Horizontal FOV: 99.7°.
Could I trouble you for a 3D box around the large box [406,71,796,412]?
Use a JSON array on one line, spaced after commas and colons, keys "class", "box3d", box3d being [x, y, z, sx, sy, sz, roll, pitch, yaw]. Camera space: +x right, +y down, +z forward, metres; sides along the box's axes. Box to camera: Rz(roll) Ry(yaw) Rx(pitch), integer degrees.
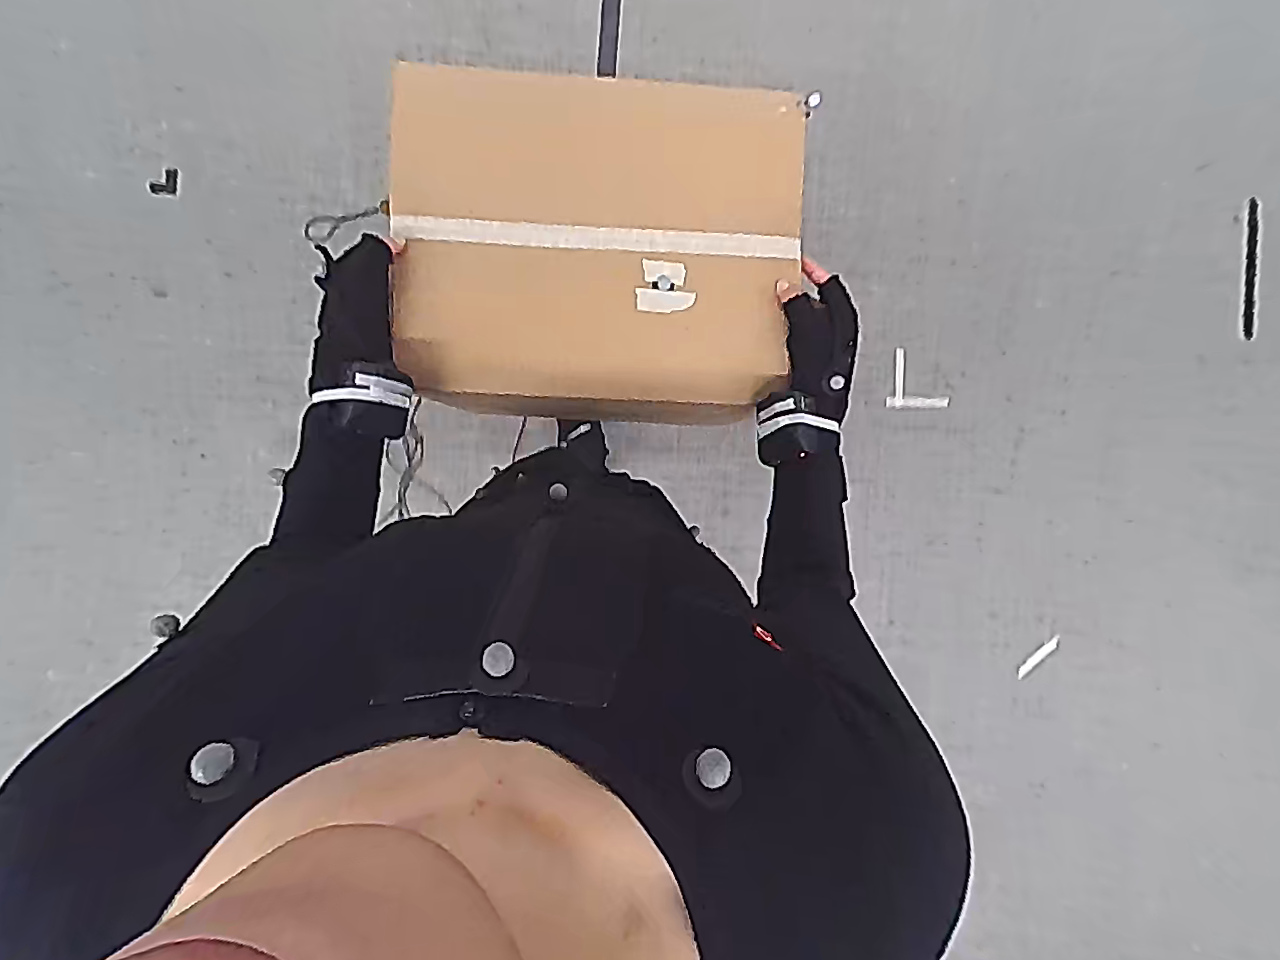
[{"class": "large box", "box3d": [-0.048, -0.259, 0.705, 0.408, 0.320, 0.320, 2, 93, -3]}]
